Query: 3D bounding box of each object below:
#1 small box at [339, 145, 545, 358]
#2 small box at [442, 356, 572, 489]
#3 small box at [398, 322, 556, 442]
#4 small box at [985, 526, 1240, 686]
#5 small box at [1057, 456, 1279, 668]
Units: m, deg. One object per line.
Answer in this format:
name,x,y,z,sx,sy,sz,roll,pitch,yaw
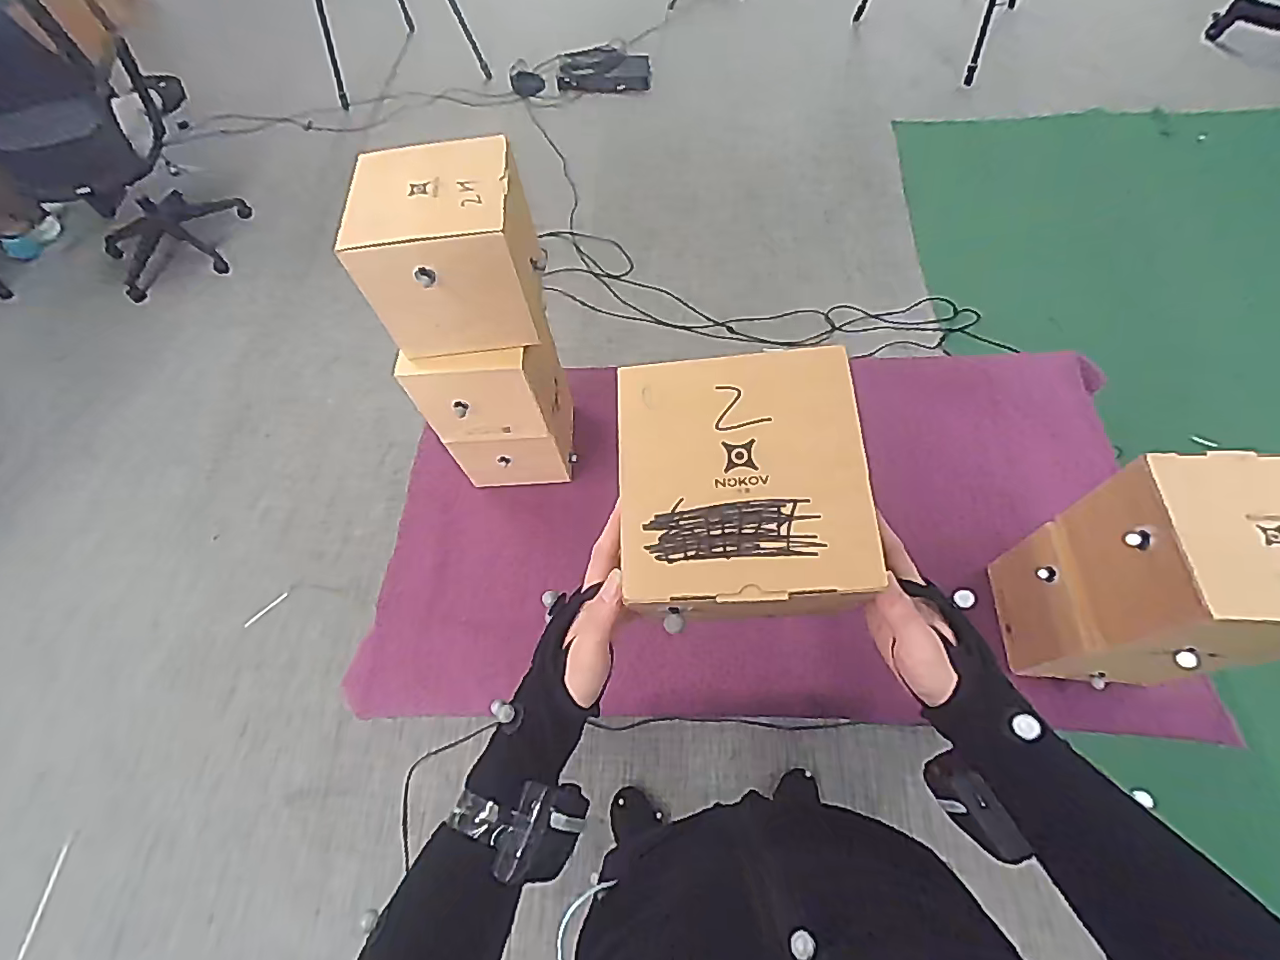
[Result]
small box,-0.221,-0.266,0.654,0.179,0.176,0.168,-6,62,1
small box,-0.216,-0.094,0.932,0.179,0.176,0.168,-4,62,3
small box,-0.222,-0.166,0.787,0.168,0.176,0.179,-3,61,3
small box,0.607,0.174,0.725,0.179,0.176,0.168,3,61,6
small box,0.598,0.092,0.583,0.168,0.176,0.179,2,62,8
